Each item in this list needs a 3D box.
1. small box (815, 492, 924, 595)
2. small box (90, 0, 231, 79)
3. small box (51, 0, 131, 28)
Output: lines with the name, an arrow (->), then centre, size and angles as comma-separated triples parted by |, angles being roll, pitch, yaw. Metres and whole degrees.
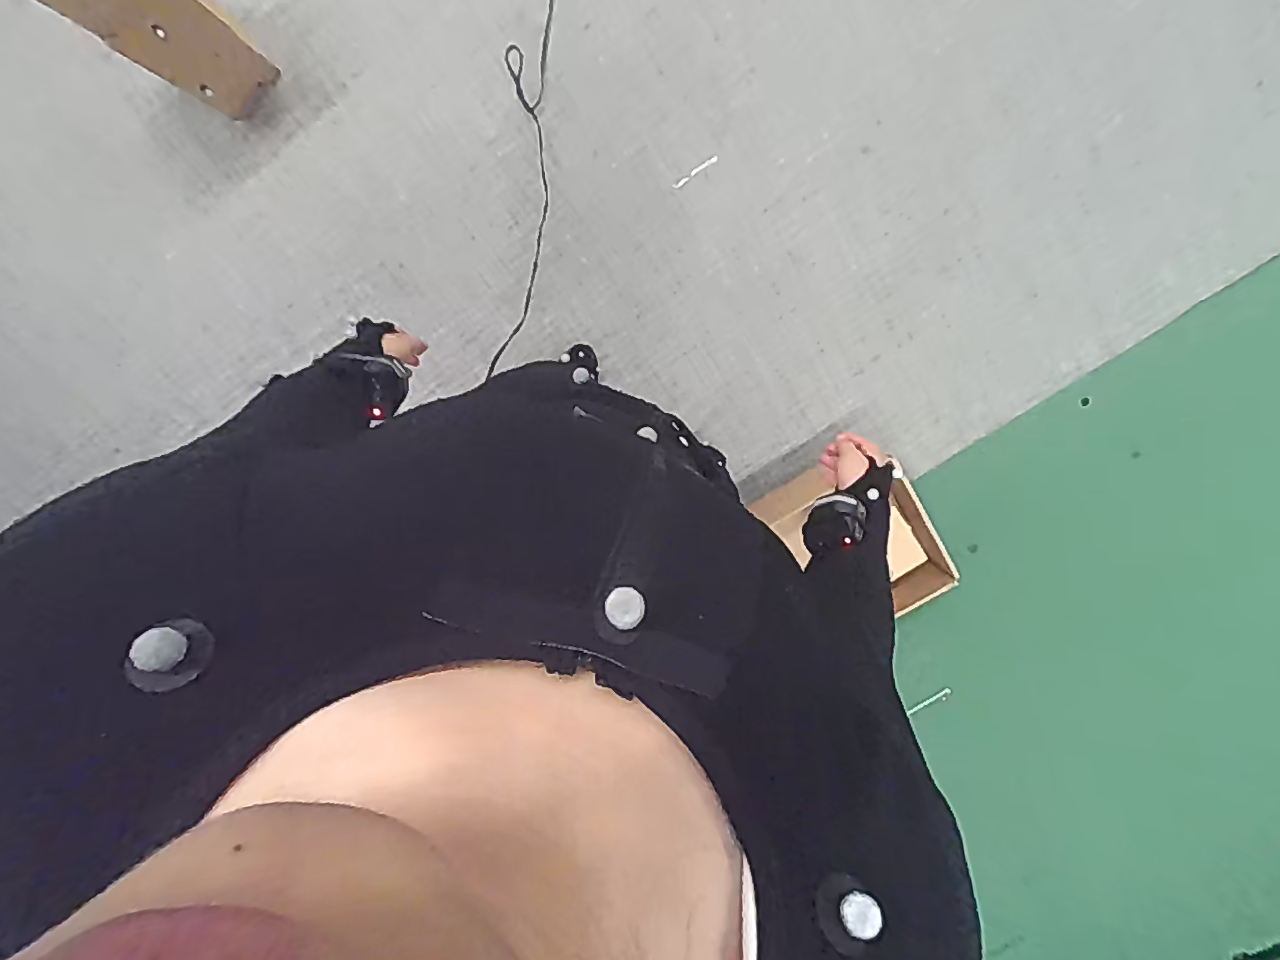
small box -> 0.584, 0.157, 1.397 | 0.168, 0.176, 0.179 | -35, 101, 7
small box -> -0.937, -0.915, 1.018 | 0.179, 0.176, 0.168 | -36, 102, 7
small box -> -0.934, -0.885, 0.857 | 0.179, 0.176, 0.168 | -36, 102, 8
